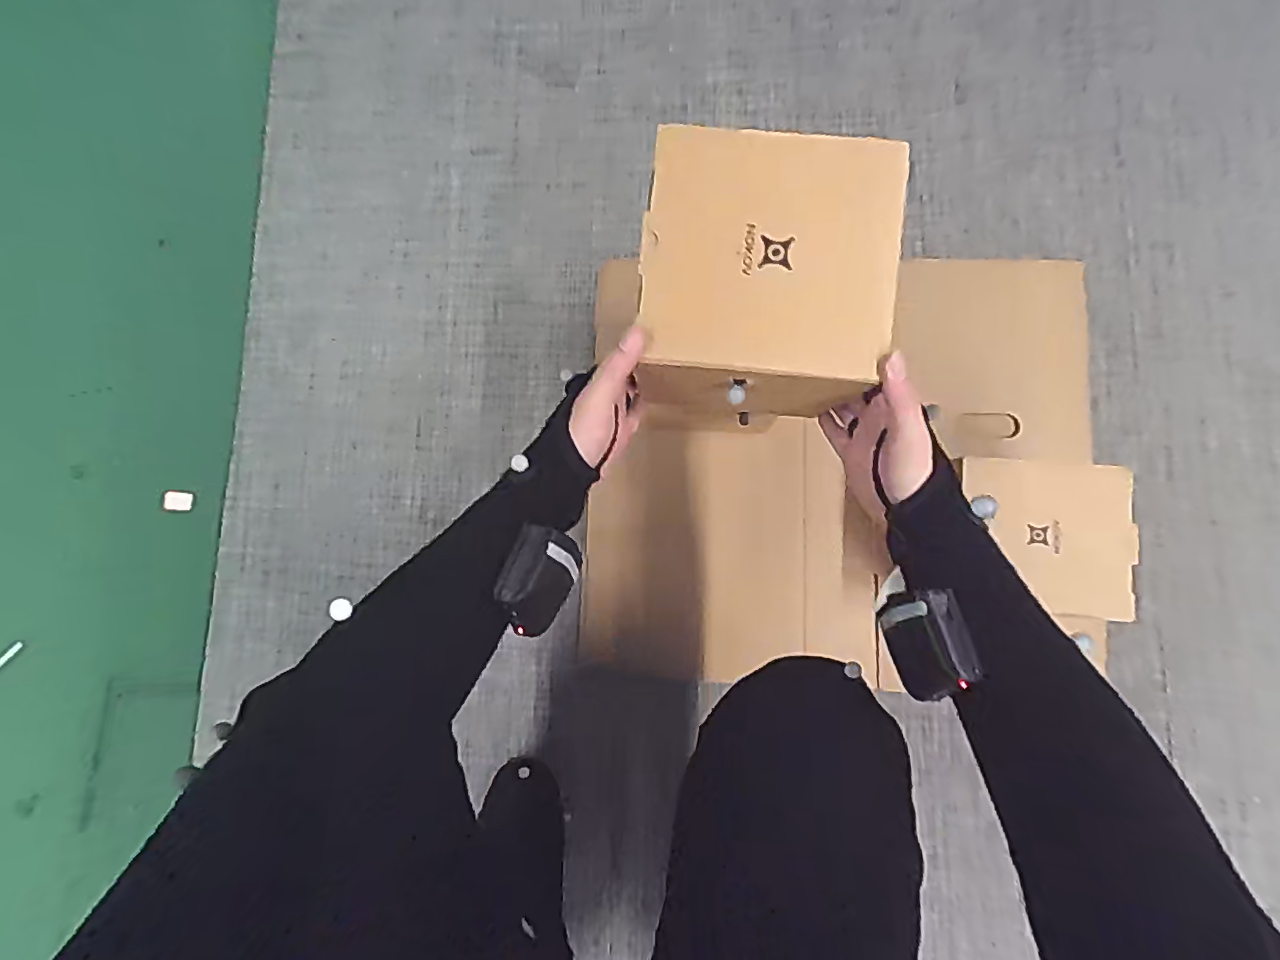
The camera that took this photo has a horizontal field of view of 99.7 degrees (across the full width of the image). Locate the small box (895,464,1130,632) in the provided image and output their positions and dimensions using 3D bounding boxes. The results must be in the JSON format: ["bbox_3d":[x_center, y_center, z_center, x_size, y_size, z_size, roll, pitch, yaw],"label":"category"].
[{"bbox_3d":[0.433,0.079,0.652,0.179,0.176,0.168,5,83,5],"label":"small box"}]

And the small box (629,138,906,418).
[{"bbox_3d":[0.092,-0.148,0.452,0.179,0.176,0.168,6,89,5],"label":"small box"}]

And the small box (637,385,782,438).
[{"bbox_3d":[0.092,-0.153,0.697,0.179,0.176,0.168,3,83,4],"label":"small box"}]
